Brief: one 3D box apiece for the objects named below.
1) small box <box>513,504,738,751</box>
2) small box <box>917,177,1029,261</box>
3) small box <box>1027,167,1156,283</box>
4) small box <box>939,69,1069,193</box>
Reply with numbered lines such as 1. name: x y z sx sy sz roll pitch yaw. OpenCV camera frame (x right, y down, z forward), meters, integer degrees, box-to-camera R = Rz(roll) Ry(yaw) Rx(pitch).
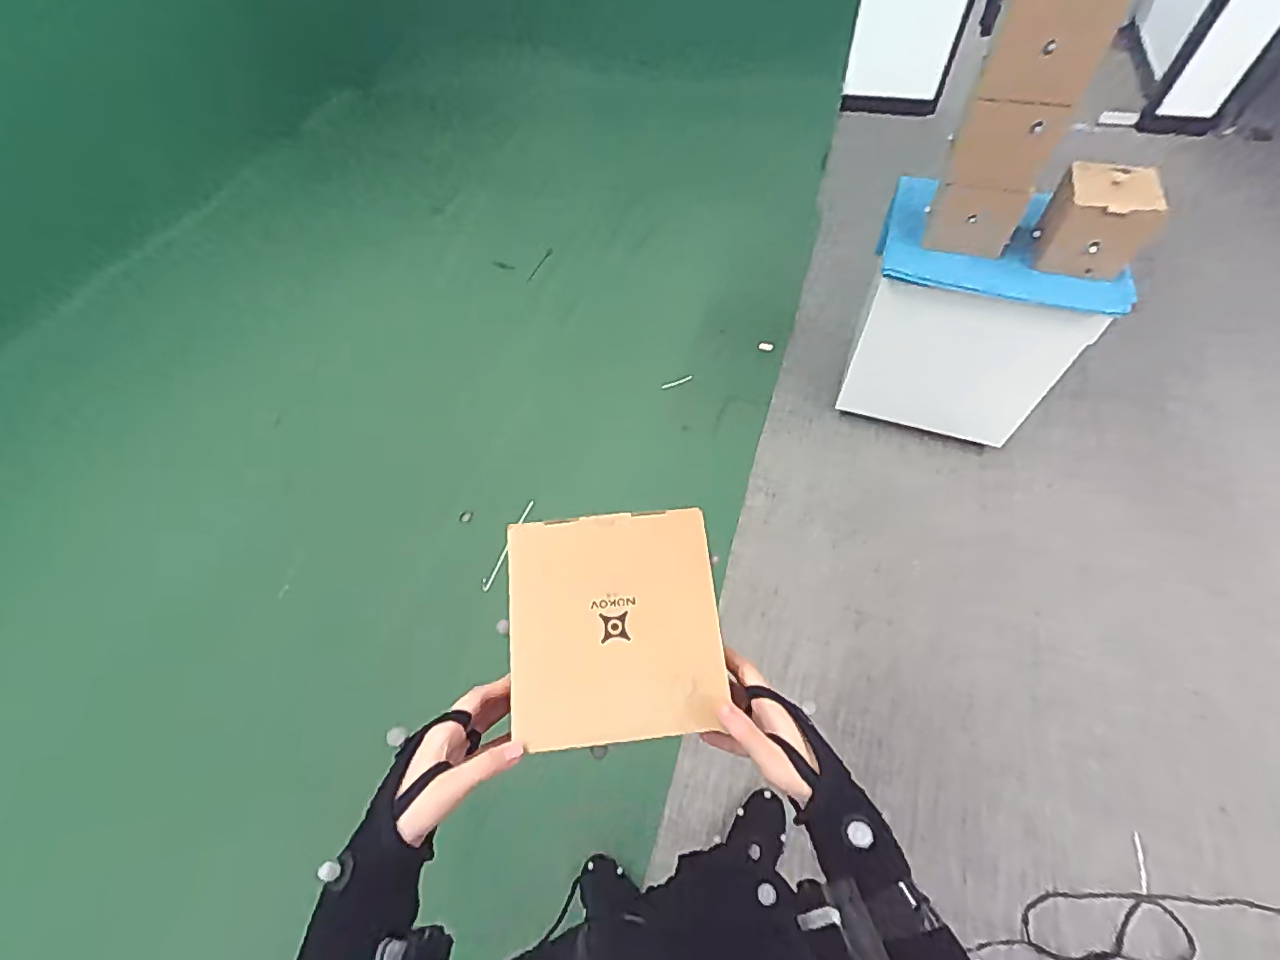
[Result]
1. small box: -0.018 0.136 0.493 0.168 0.176 0.179 -5 67 -5
2. small box: 0.794 -0.653 1.298 0.179 0.176 0.168 15 59 14
3. small box: 1.016 -0.577 1.231 0.168 0.176 0.179 15 60 14
4. small box: 0.775 -0.745 1.162 0.179 0.176 0.168 15 59 14
